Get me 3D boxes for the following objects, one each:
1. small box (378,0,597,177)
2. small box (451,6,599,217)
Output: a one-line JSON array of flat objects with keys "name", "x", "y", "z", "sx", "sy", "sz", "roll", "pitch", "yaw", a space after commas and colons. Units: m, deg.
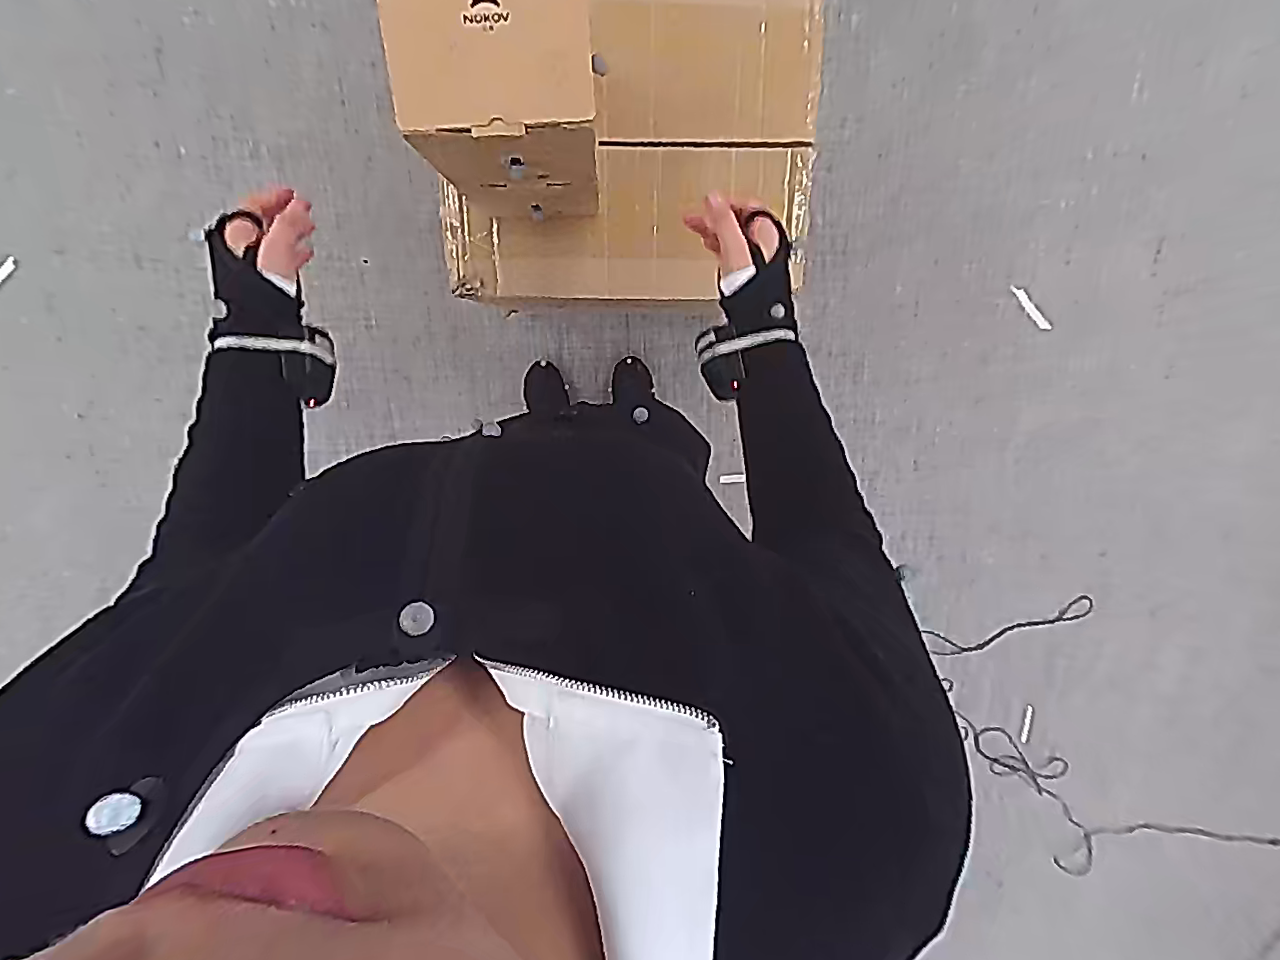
[{"name": "small box", "x": -0.129, "y": -0.397, "z": 0.506, "sx": 0.168, "sy": 0.176, "sz": 0.179, "roll": -4, "pitch": 106, "yaw": -3}, {"name": "small box", "x": -0.137, "y": -0.438, "z": 0.665, "sx": 0.168, "sy": 0.176, "sz": 0.179, "roll": -3, "pitch": 105, "yaw": -3}]
